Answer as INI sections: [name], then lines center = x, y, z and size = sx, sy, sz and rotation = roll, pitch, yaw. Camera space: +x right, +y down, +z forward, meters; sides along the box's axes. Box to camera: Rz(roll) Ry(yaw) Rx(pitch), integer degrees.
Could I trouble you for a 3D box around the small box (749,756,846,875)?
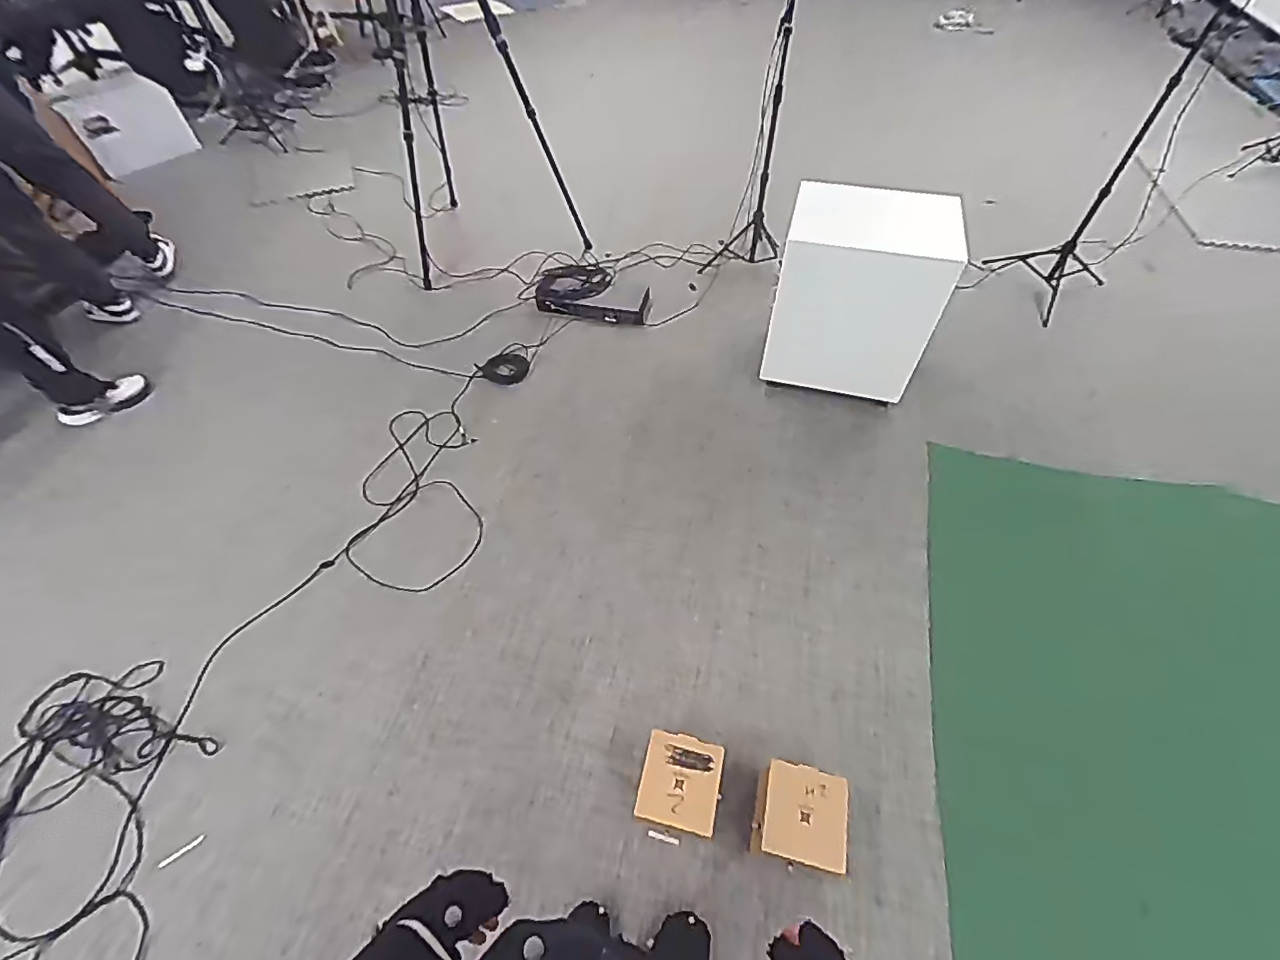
[small box]
center = 0.336, 0.727, 1.169
size = 0.168, 0.176, 0.179
rotation = 12, 54, 9
